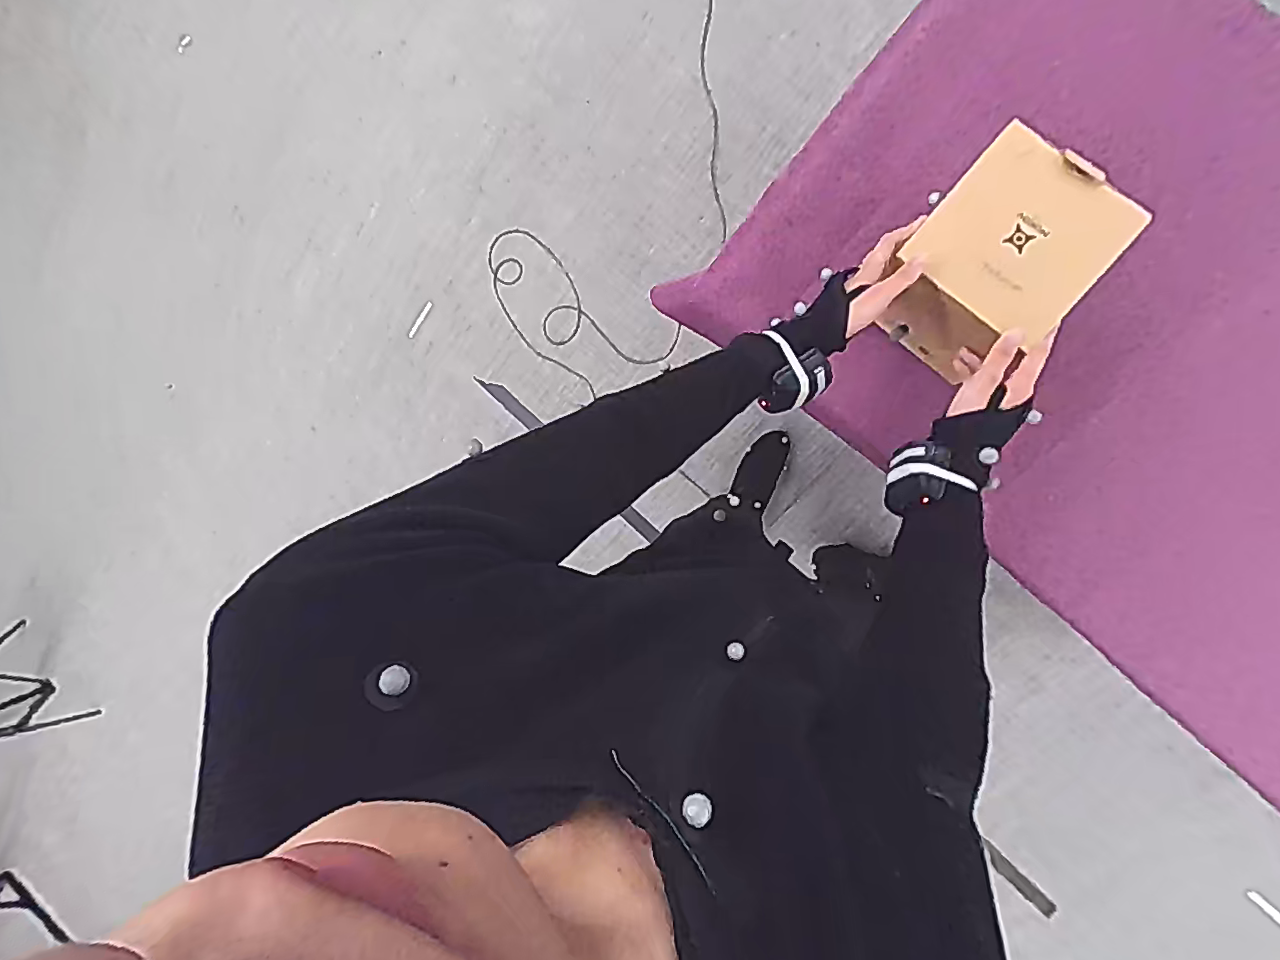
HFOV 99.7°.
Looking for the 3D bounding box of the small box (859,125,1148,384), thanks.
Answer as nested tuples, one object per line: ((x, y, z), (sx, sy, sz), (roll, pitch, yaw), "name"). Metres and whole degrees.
((0.382, -0.234, 0.610), (0.168, 0.176, 0.179), (42, 95, 6), "small box")
